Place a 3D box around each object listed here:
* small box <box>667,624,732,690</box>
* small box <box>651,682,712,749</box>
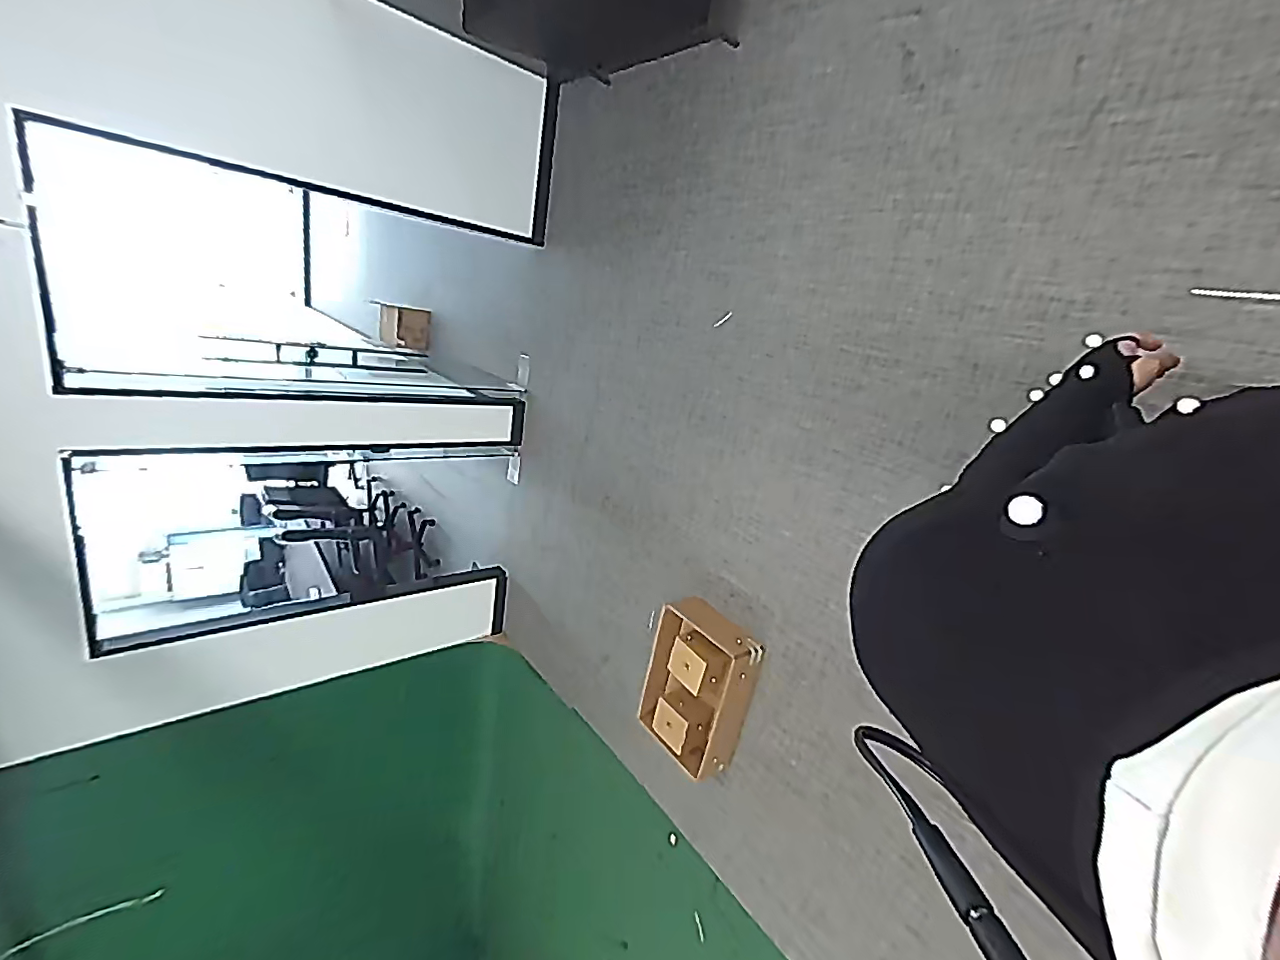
[{"bbox_3d":[0.241,0.704,2.177,0.179,0.176,0.168,34,119,43],"label":"small box"},{"bbox_3d":[0.177,0.982,2.274,0.179,0.176,0.168,30,114,45],"label":"small box"}]
